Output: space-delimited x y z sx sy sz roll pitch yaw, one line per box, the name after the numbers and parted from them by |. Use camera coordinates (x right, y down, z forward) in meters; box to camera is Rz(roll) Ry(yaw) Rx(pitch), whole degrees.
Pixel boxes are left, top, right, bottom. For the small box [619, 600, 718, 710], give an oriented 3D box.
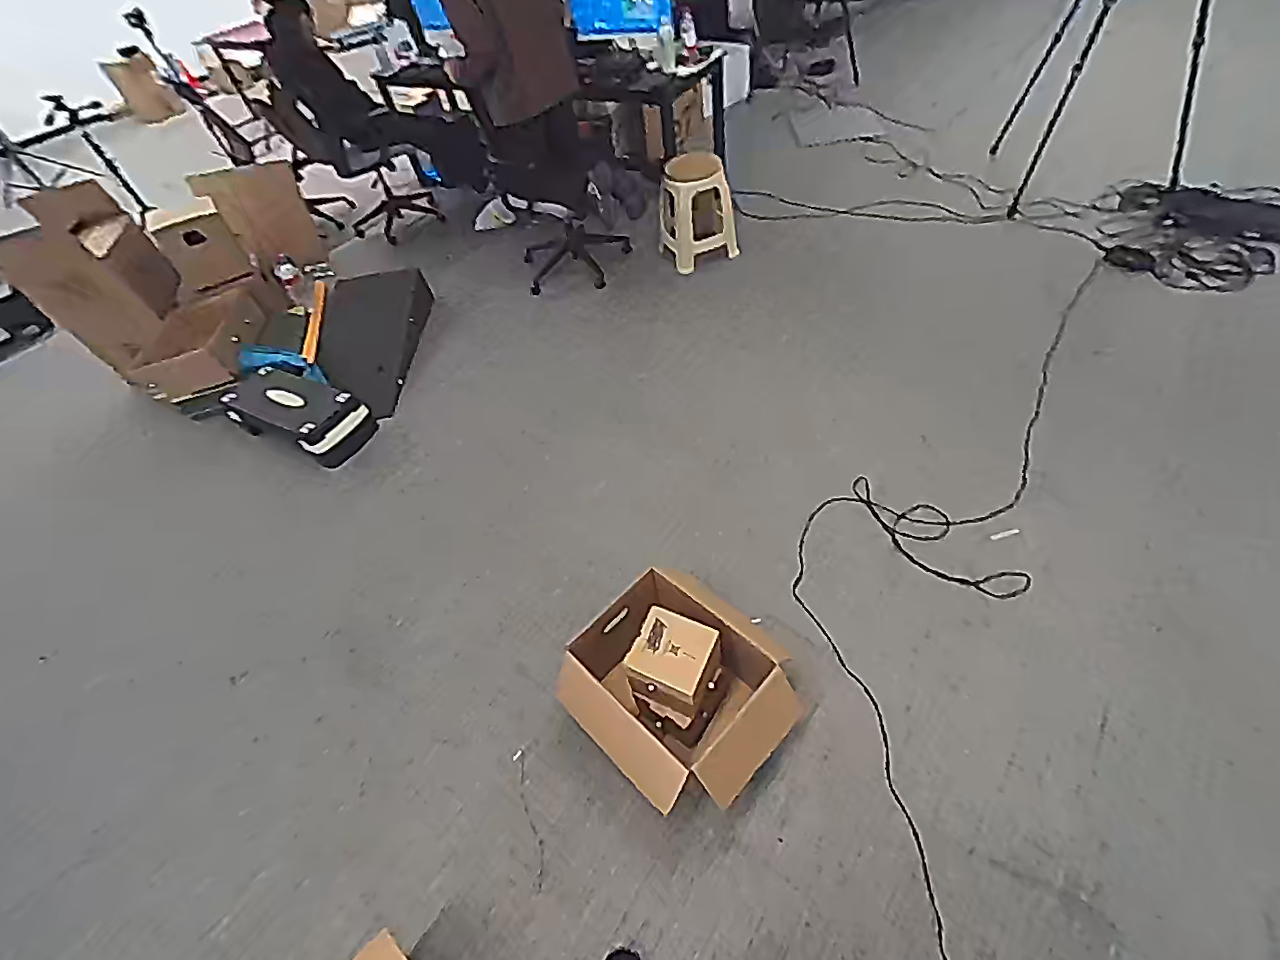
0.076 0.426 1.303 0.179 0.176 0.168 20 58 25 | small box
